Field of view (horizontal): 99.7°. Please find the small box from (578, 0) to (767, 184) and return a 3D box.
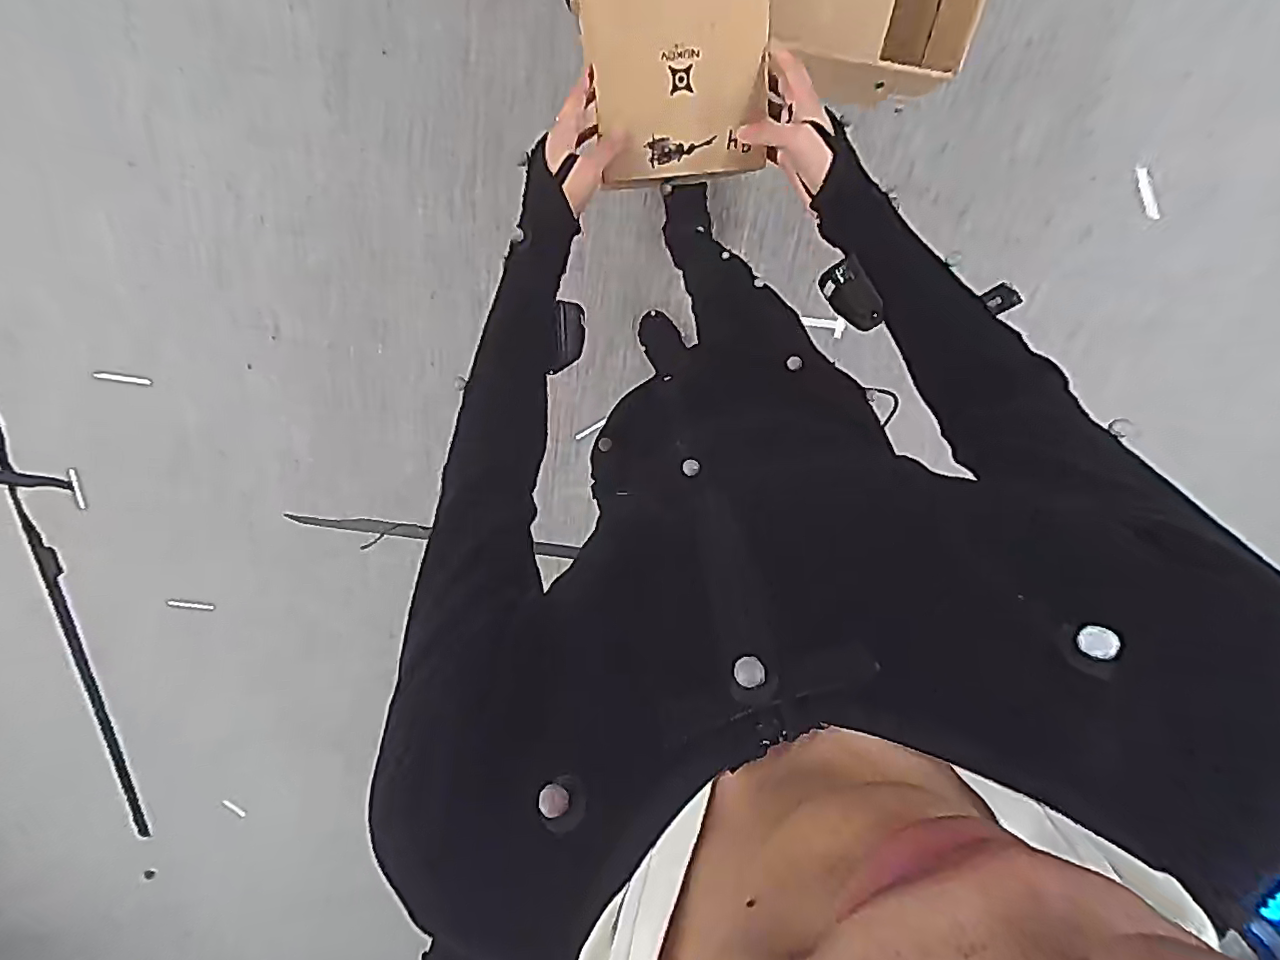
[{"bbox_3d":[0.026,-0.419,0.564,0.168,0.176,0.179,-6,116,-4],"label":"small box"}]
